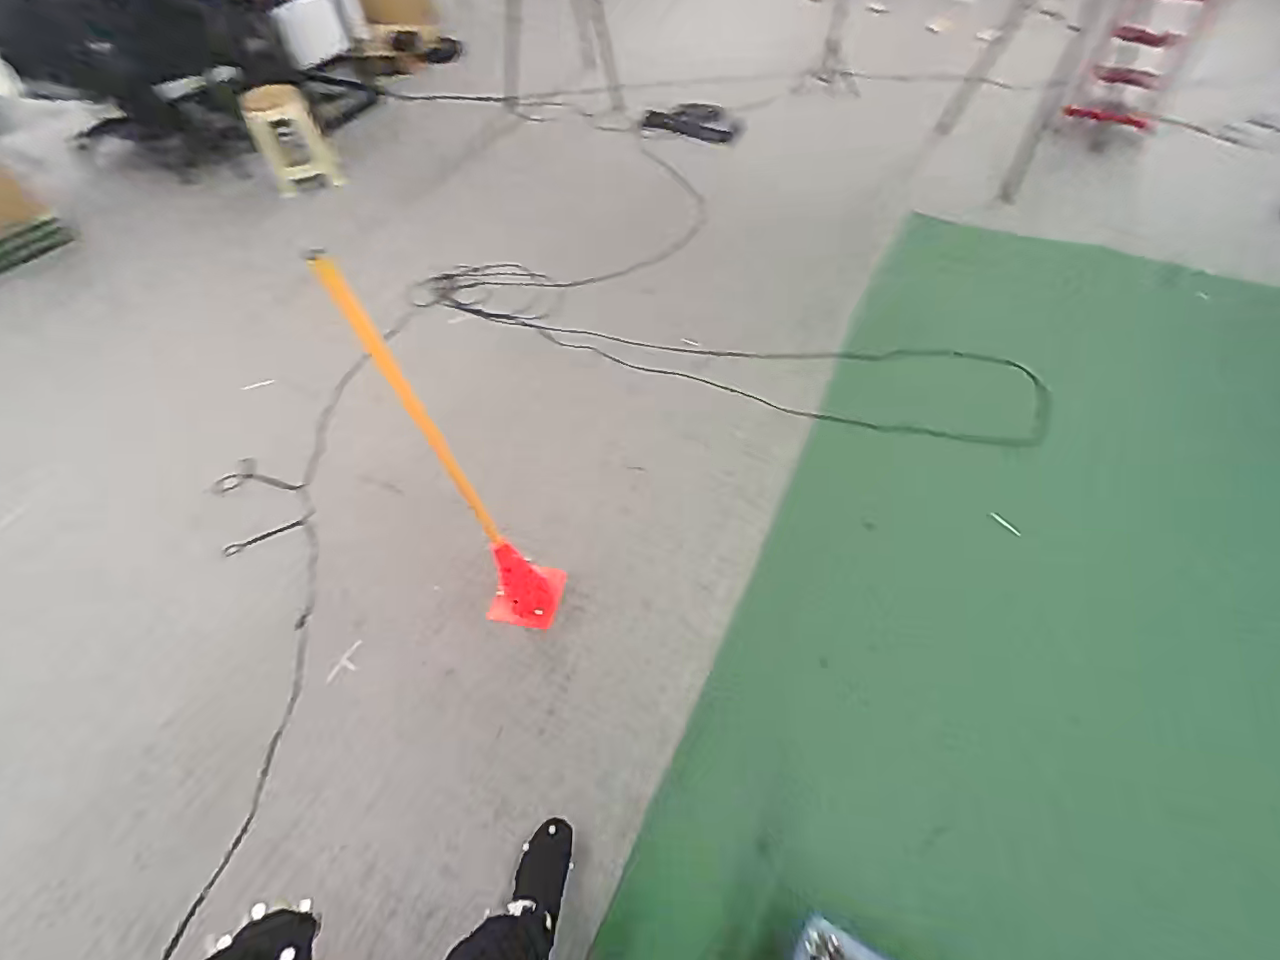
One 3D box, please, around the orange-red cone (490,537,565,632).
[{"bbox_3d":[-0.359,0.267,1.558,0.198,0.360,0.199,9,55,9],"label":"orange-red cone"}]
